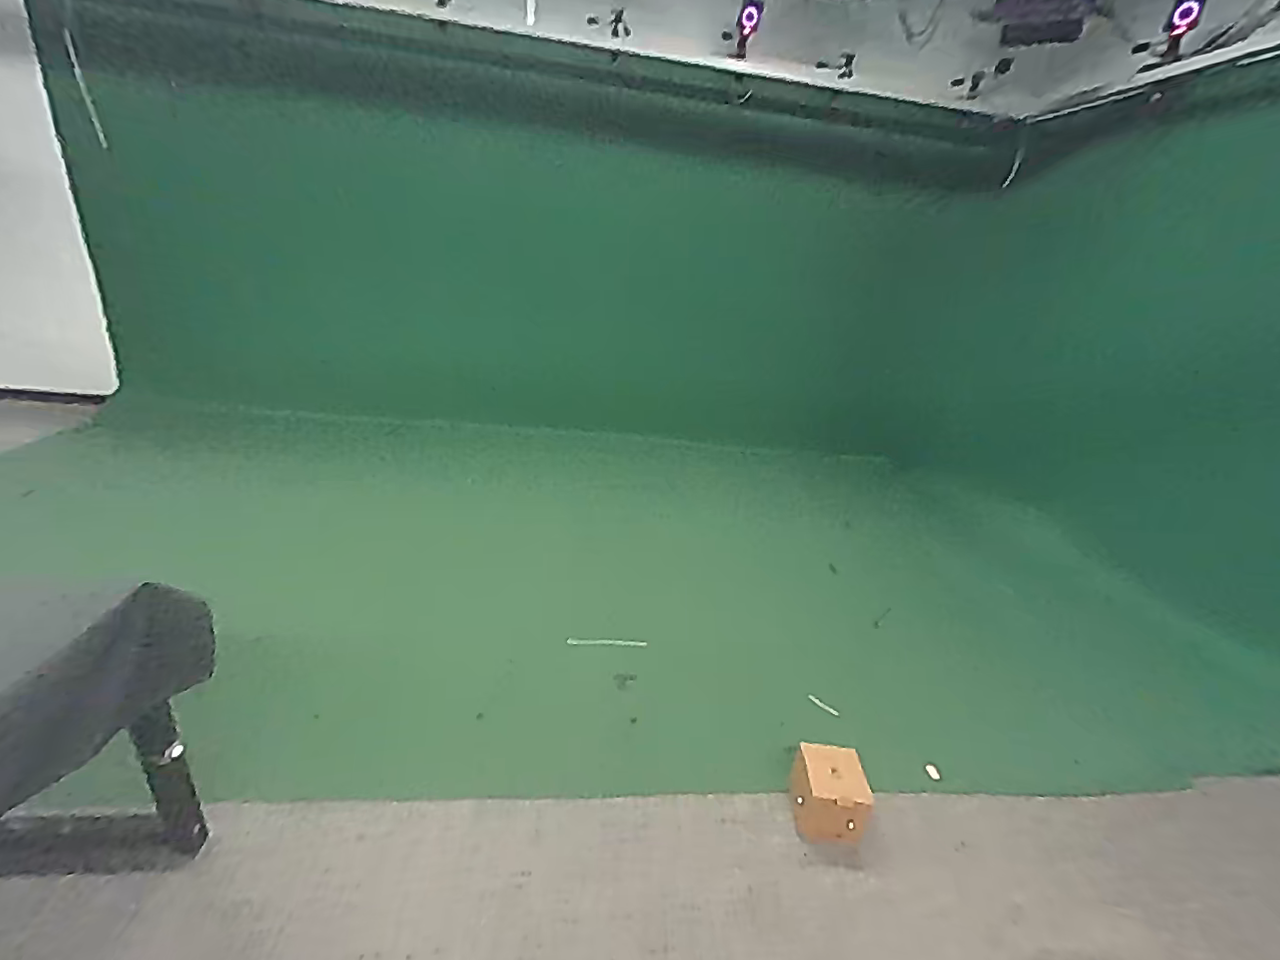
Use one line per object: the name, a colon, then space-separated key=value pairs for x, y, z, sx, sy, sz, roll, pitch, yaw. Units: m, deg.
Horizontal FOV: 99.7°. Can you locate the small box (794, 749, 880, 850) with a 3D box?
small box: x=0.545 y=0.896 z=1.518 sx=0.168 sy=0.176 sz=0.179 roll=8 pitch=22 yaw=0
